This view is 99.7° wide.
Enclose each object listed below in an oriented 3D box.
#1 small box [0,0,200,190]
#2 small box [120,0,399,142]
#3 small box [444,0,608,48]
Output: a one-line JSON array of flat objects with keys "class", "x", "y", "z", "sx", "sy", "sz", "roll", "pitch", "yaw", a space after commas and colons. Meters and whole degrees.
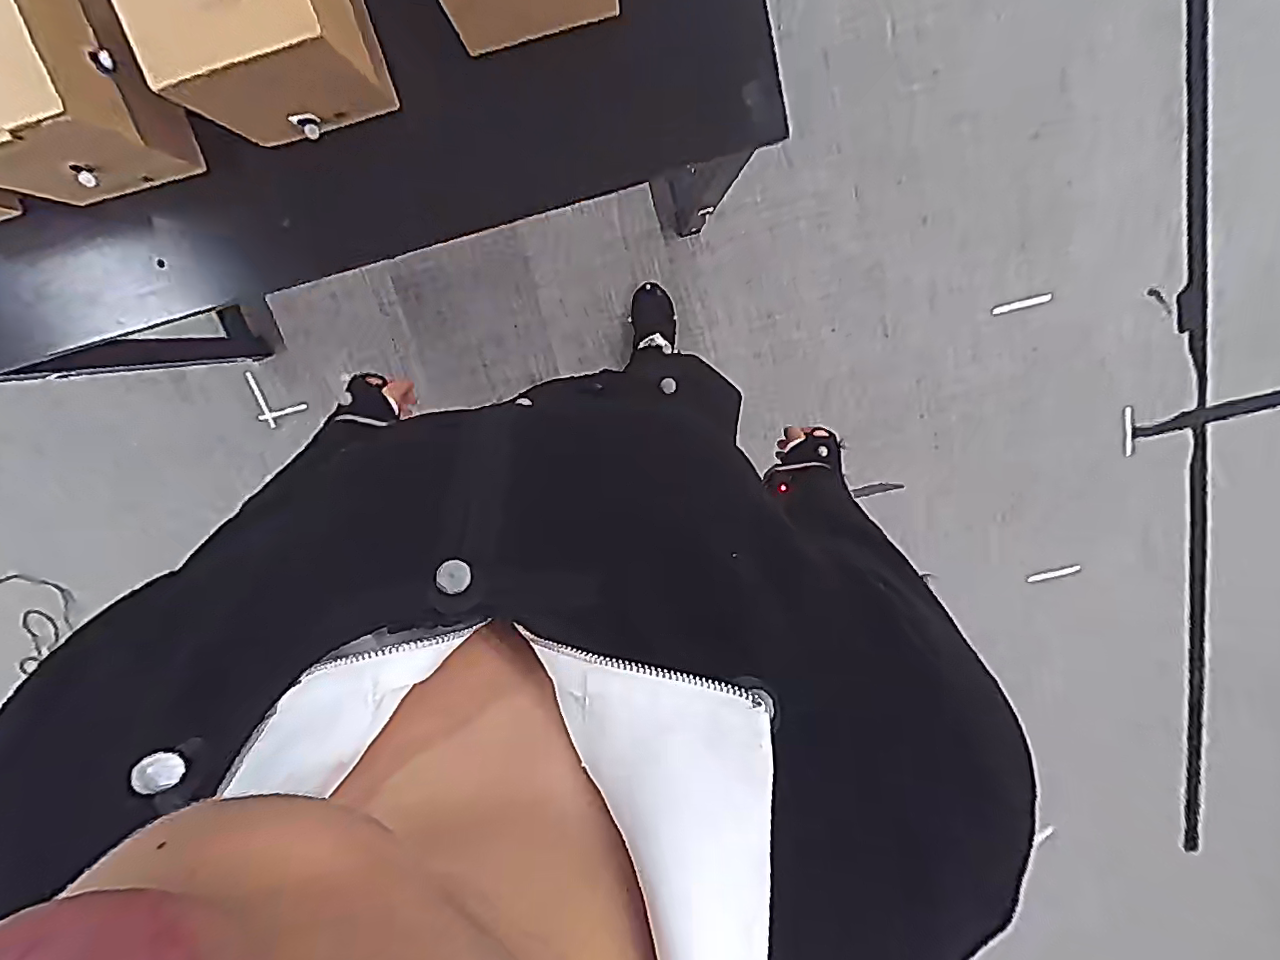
[{"class": "small box", "x": -0.602, "y": -0.409, "z": 0.538, "sx": 0.168, "sy": 0.176, "sz": 0.179, "roll": -15, "pitch": 106, "yaw": 1}, {"class": "small box", "x": -0.372, "y": -0.470, "z": 0.529, "sx": 0.168, "sy": 0.176, "sz": 0.179, "roll": -15, "pitch": 106, "yaw": 4}, {"class": "small box", "x": -0.122, "y": -0.556, "z": 0.509, "sx": 0.179, "sy": 0.176, "sz": 0.168, "roll": -13, "pitch": 105, "yaw": 2}]
